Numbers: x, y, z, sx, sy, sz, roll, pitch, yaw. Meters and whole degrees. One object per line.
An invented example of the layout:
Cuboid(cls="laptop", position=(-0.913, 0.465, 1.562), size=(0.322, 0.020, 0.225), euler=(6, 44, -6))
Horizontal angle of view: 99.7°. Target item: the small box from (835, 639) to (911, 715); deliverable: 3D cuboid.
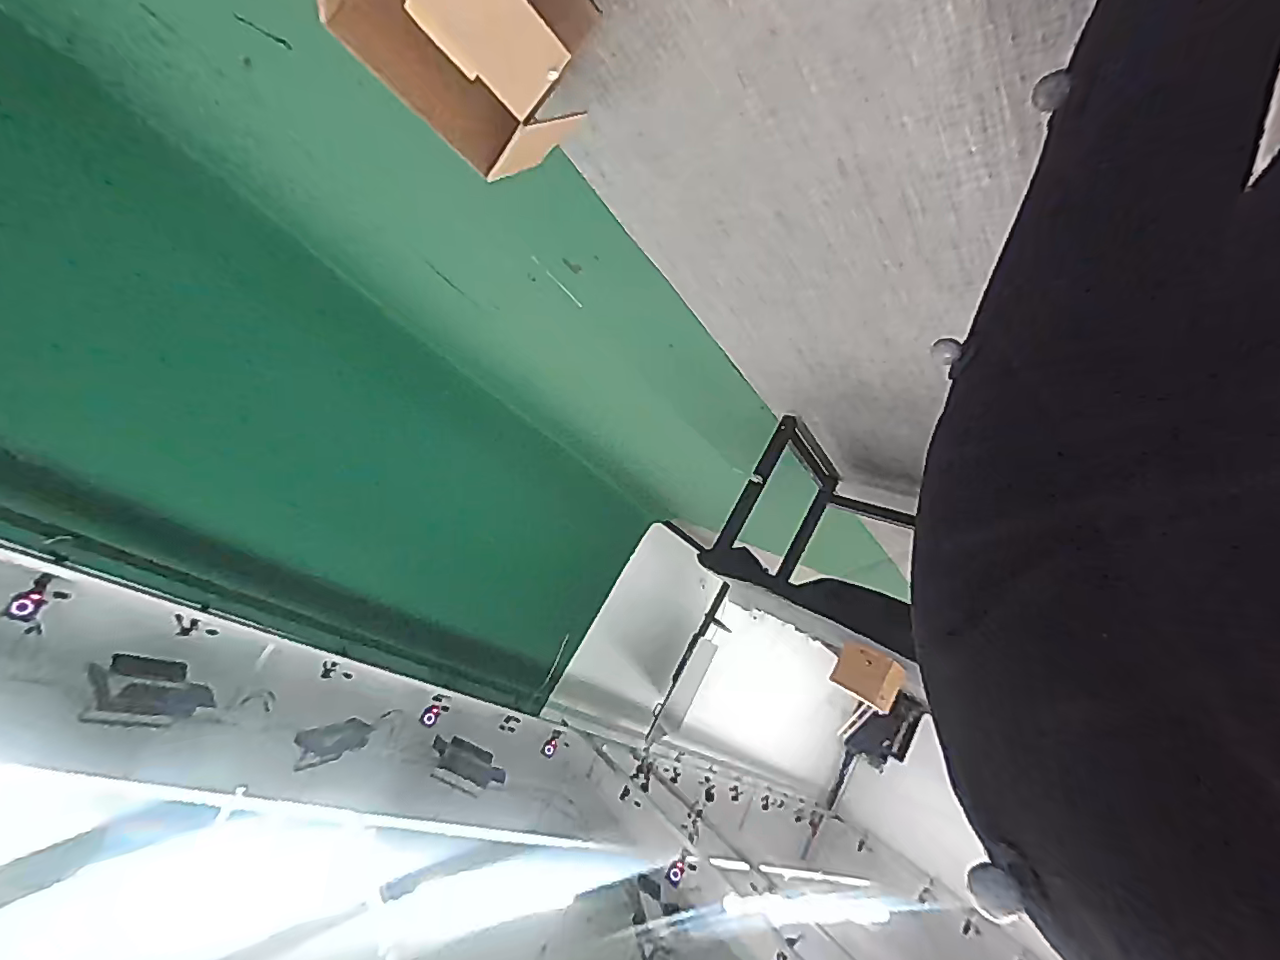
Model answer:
Cuboid(cls="small box", position=(0.818, 0.684, 1.888), size=(0.168, 0.176, 0.179), euler=(19, 164, 47))
